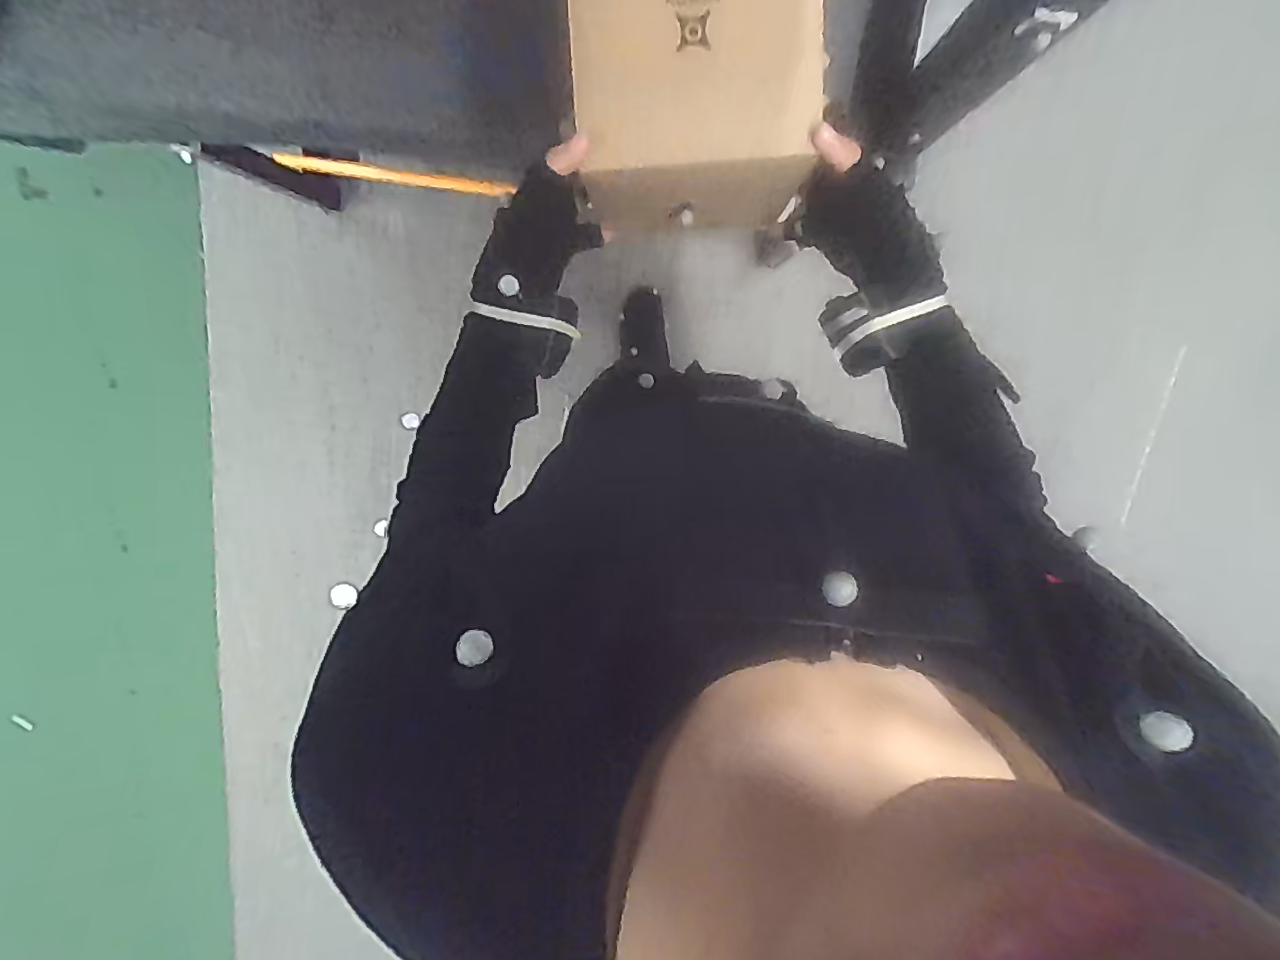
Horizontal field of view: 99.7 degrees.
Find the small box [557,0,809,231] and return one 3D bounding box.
[{"bbox_3d":[0.032,-0.310,0.430,0.168,0.176,0.179,-2,98,3],"label":"small box"}]
